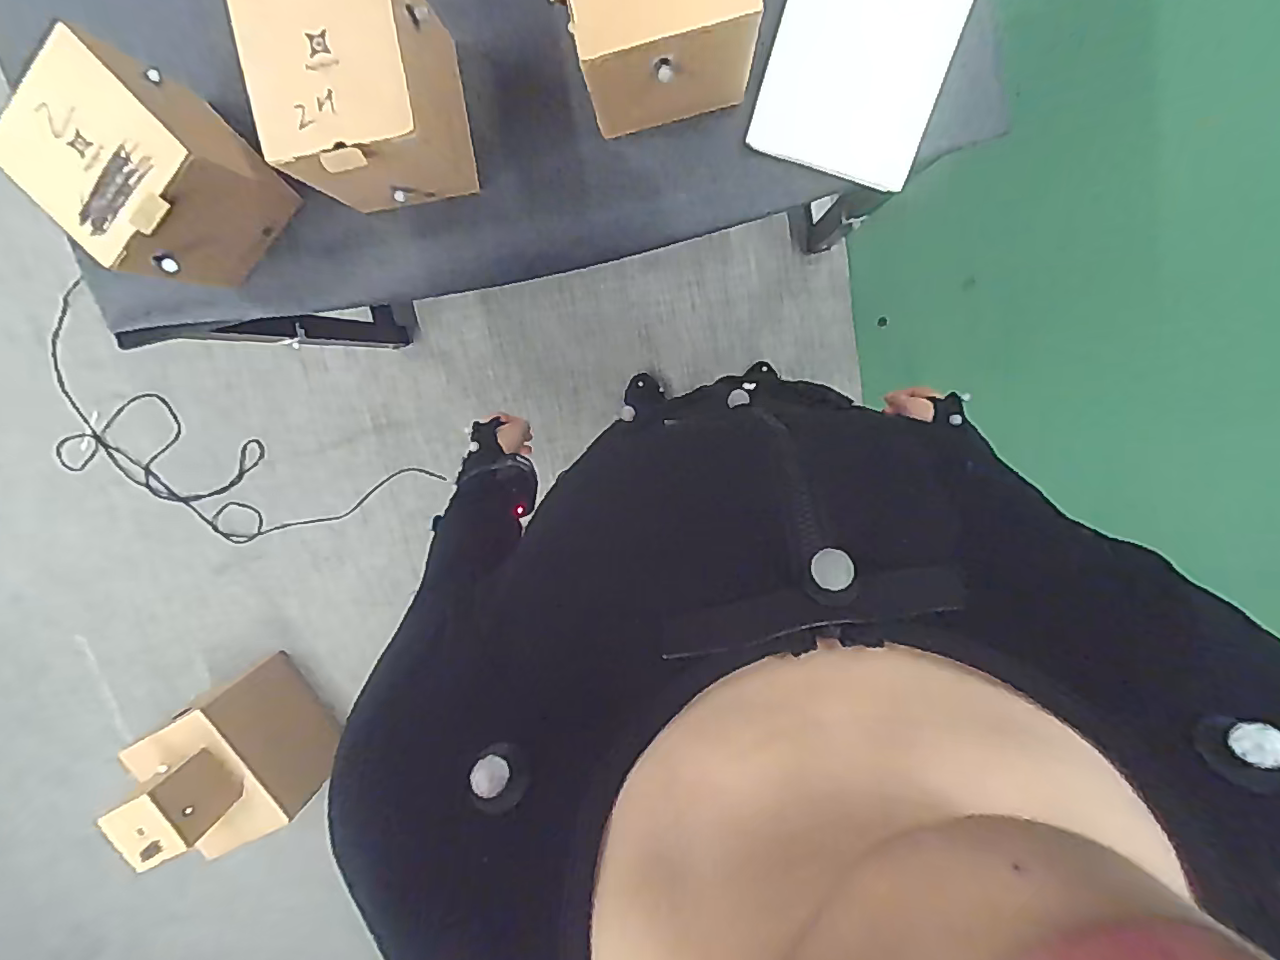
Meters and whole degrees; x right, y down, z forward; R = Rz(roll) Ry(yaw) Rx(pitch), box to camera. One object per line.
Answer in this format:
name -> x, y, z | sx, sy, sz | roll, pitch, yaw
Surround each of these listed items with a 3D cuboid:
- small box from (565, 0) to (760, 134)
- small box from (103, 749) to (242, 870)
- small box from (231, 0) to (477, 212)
small box -> 0.017, -0.501, 0.564 | 0.179, 0.176, 0.168 | -11, 99, 8
small box -> -1.187, 0.839, 1.389 | 0.168, 0.176, 0.179 | -28, 98, 8
small box -> -0.304, -0.430, 0.608 | 0.168, 0.176, 0.179 | -7, 100, 7
